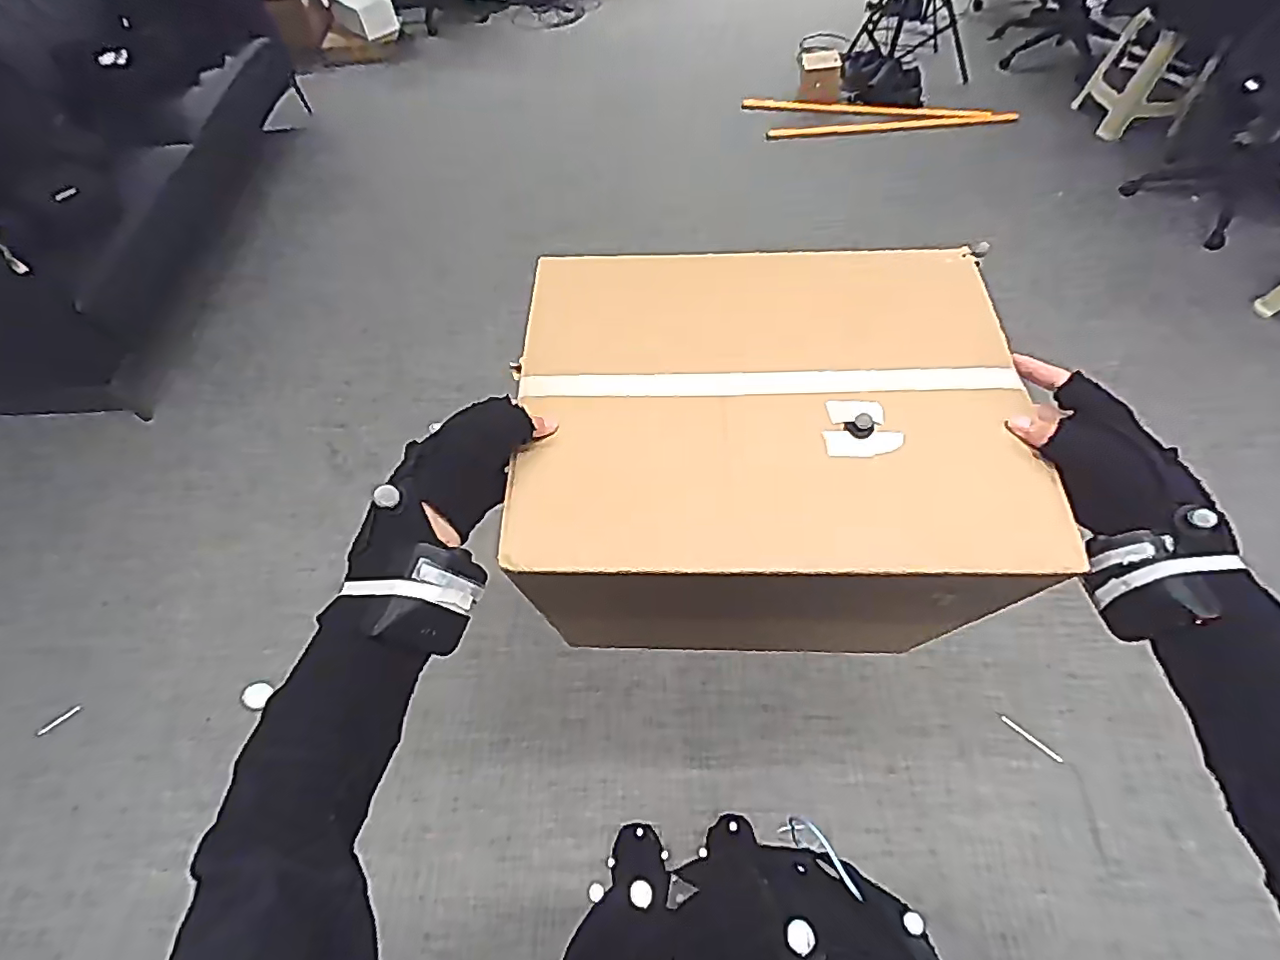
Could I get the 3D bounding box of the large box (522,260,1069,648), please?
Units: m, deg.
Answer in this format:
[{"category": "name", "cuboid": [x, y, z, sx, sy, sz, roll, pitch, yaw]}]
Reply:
[{"category": "large box", "cuboid": [0.112, -0.006, 0.588, 0.408, 0.320, 0.320, 0, 63, 2]}]
